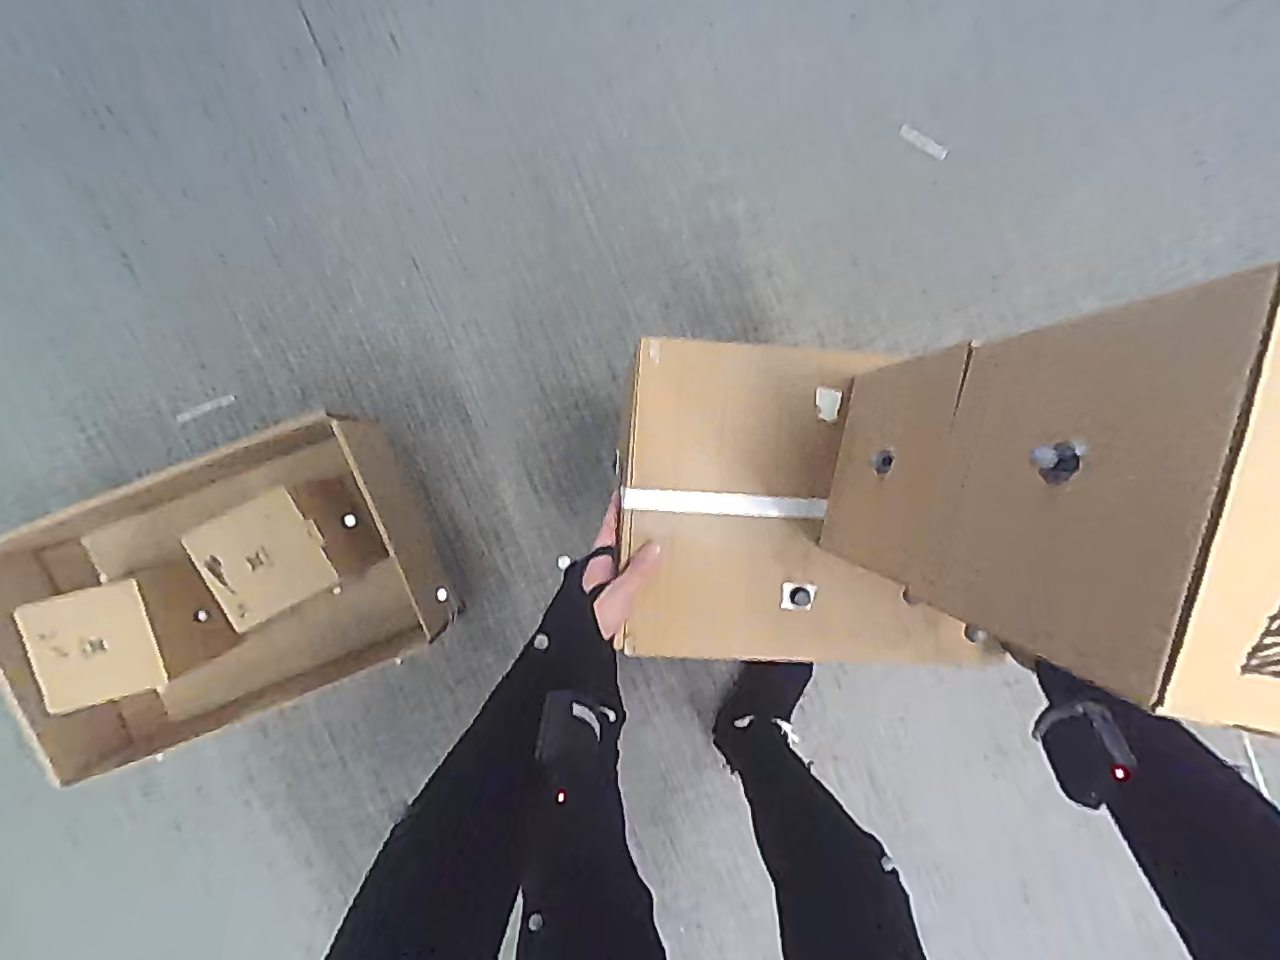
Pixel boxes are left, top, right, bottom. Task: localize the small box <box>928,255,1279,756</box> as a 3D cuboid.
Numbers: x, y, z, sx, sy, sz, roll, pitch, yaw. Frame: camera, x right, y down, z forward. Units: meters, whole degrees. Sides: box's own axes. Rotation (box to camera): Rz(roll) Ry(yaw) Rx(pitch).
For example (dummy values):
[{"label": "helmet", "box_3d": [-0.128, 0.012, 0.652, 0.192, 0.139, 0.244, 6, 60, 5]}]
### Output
[{"label": "small box", "box_3d": [0.279, 0.019, 0.269, 0.168, 0.176, 0.179, 14, 91, -5]}]
